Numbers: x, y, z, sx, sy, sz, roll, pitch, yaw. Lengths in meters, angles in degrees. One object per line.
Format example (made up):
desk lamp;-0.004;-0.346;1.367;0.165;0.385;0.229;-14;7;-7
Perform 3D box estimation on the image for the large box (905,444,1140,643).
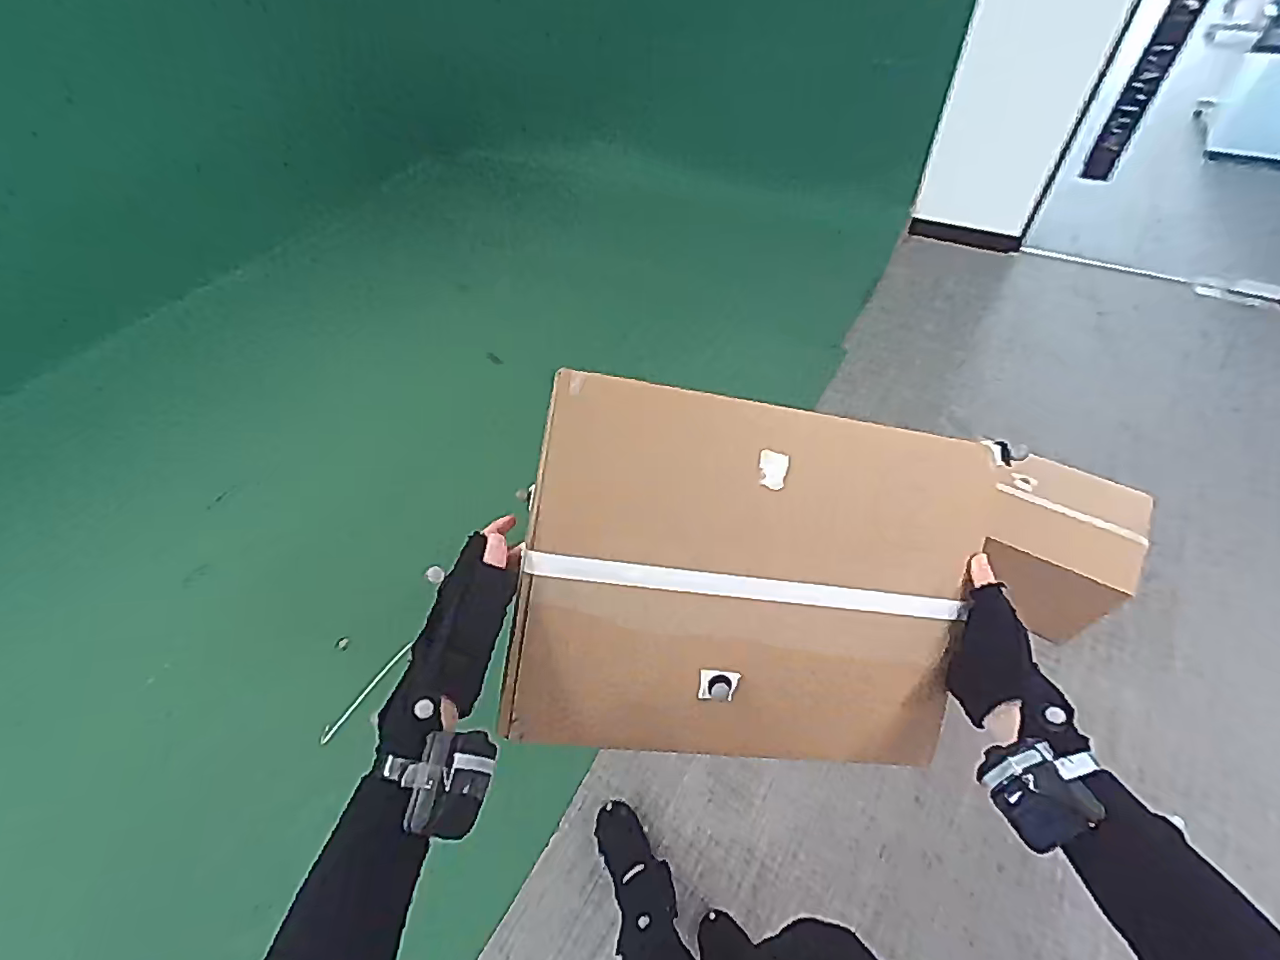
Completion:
large box;1.004;0.169;1.457;0.408;0.320;0.320;25;59;24
